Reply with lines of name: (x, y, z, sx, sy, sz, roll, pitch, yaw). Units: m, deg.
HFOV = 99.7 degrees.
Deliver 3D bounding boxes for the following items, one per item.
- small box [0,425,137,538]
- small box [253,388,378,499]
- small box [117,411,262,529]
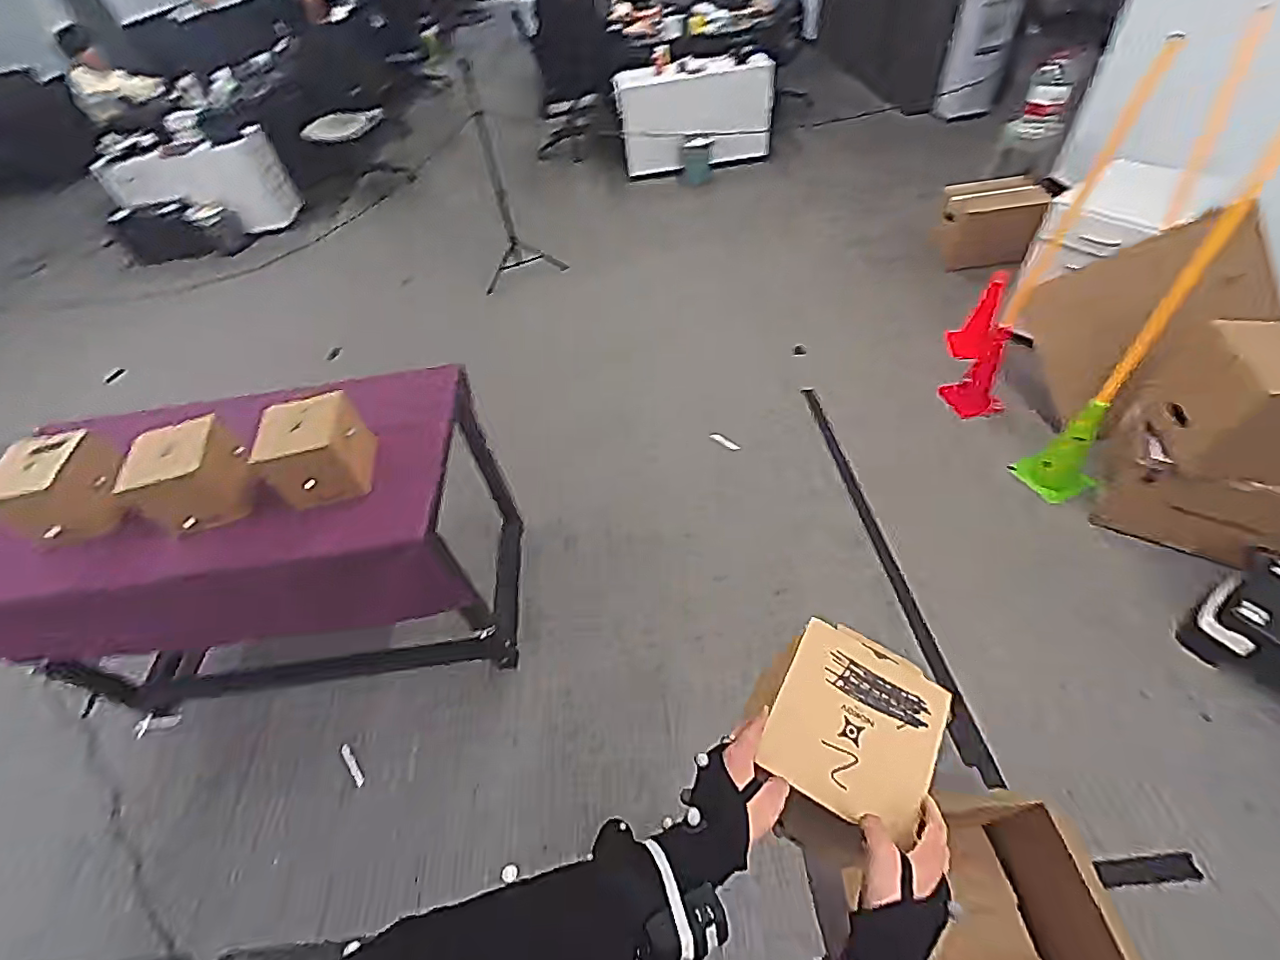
small box: (-1.287, 0.006, 1.221, 0.168, 0.176, 0.179, -11, 50, -1)
small box: (-0.711, -0.075, 1.210, 0.168, 0.176, 0.179, -13, 49, -3)
small box: (-0.983, -0.020, 1.203, 0.168, 0.176, 0.179, -16, 50, -5)
